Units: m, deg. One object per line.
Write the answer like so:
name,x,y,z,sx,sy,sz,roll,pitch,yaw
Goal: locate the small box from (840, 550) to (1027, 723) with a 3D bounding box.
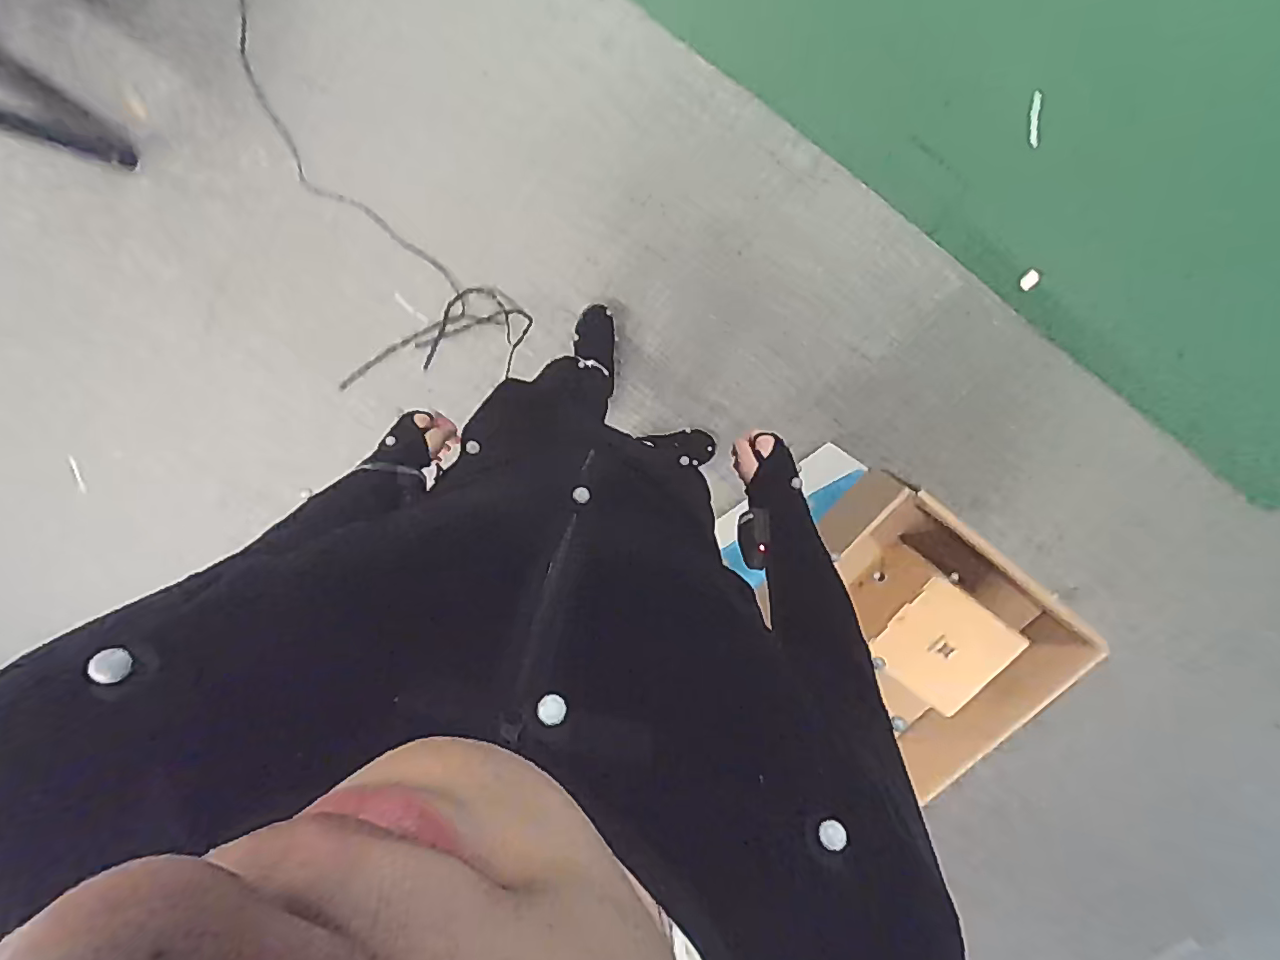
small box,0.457,0.242,0.876,0.179,0.176,0.168,37,105,-2
